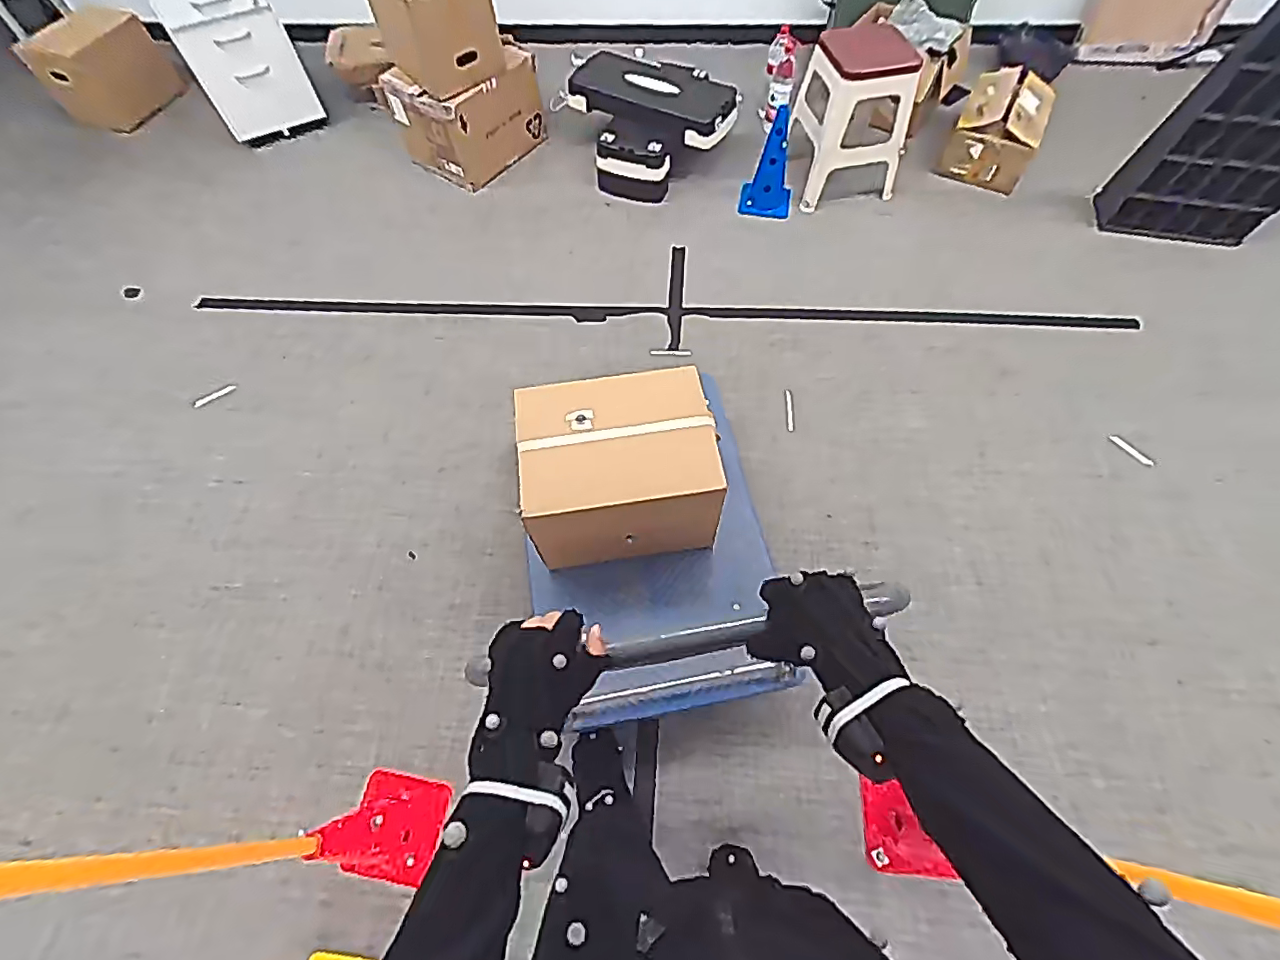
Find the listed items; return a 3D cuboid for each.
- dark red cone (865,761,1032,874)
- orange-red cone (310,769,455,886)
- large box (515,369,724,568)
[{"bbox_3d":[0.598,0.648,1.024,0.201,0.394,0.202,3,62,1],"label":"dark red cone"},{"bbox_3d":[-0.534,0.687,1.059,0.198,0.360,0.199,10,61,6],"label":"orange-red cone"},{"bbox_3d":[-0.047,-0.014,1.252,0.408,0.320,0.320,-9,62,-2],"label":"large box"}]
